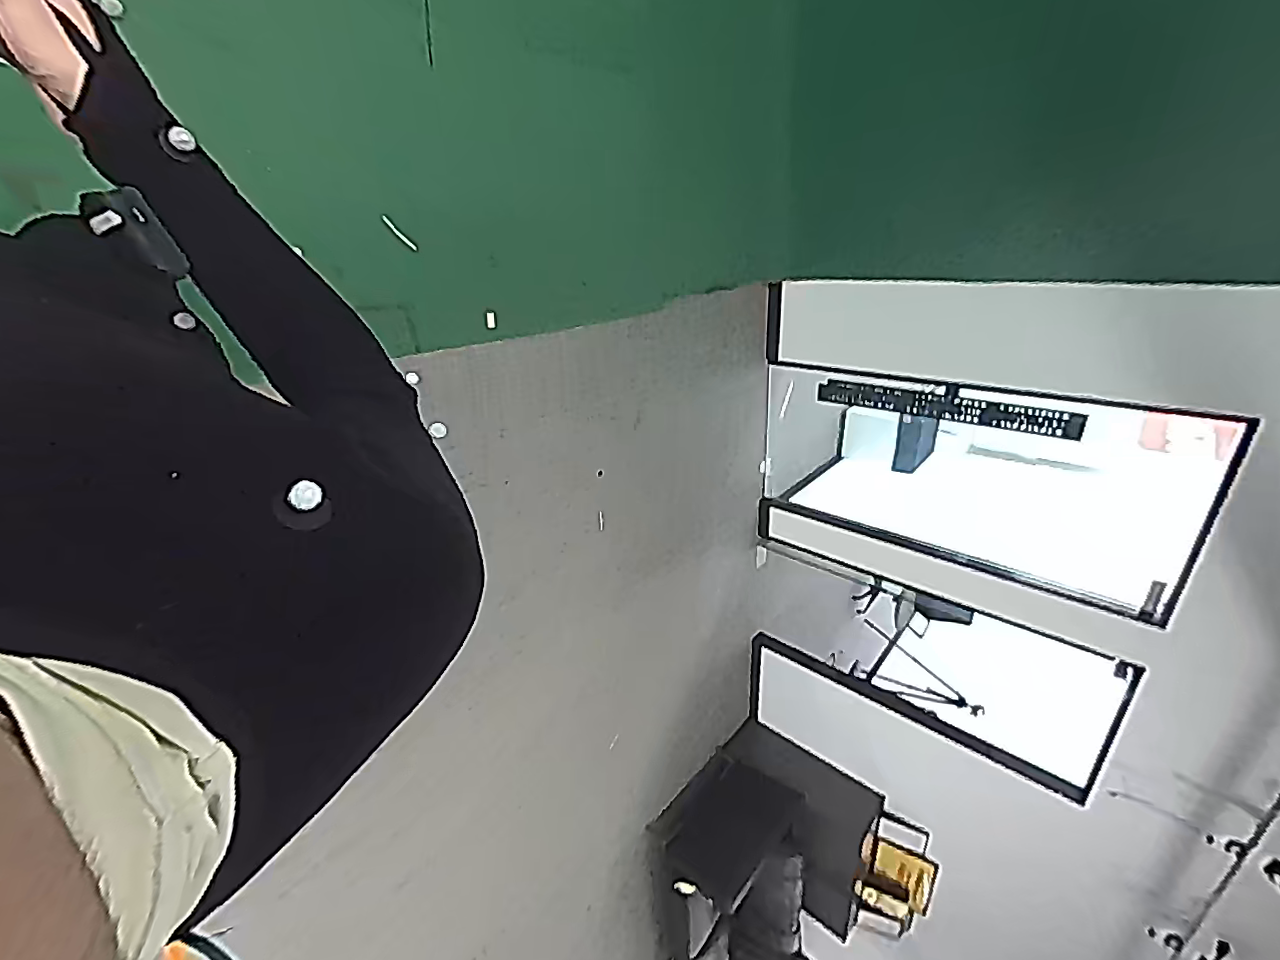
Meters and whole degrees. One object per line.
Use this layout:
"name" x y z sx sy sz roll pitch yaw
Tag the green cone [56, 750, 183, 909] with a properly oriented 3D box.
"green cone" -1.205 0.859 1.283 0.202 0.368 0.200 -26 123 -41
